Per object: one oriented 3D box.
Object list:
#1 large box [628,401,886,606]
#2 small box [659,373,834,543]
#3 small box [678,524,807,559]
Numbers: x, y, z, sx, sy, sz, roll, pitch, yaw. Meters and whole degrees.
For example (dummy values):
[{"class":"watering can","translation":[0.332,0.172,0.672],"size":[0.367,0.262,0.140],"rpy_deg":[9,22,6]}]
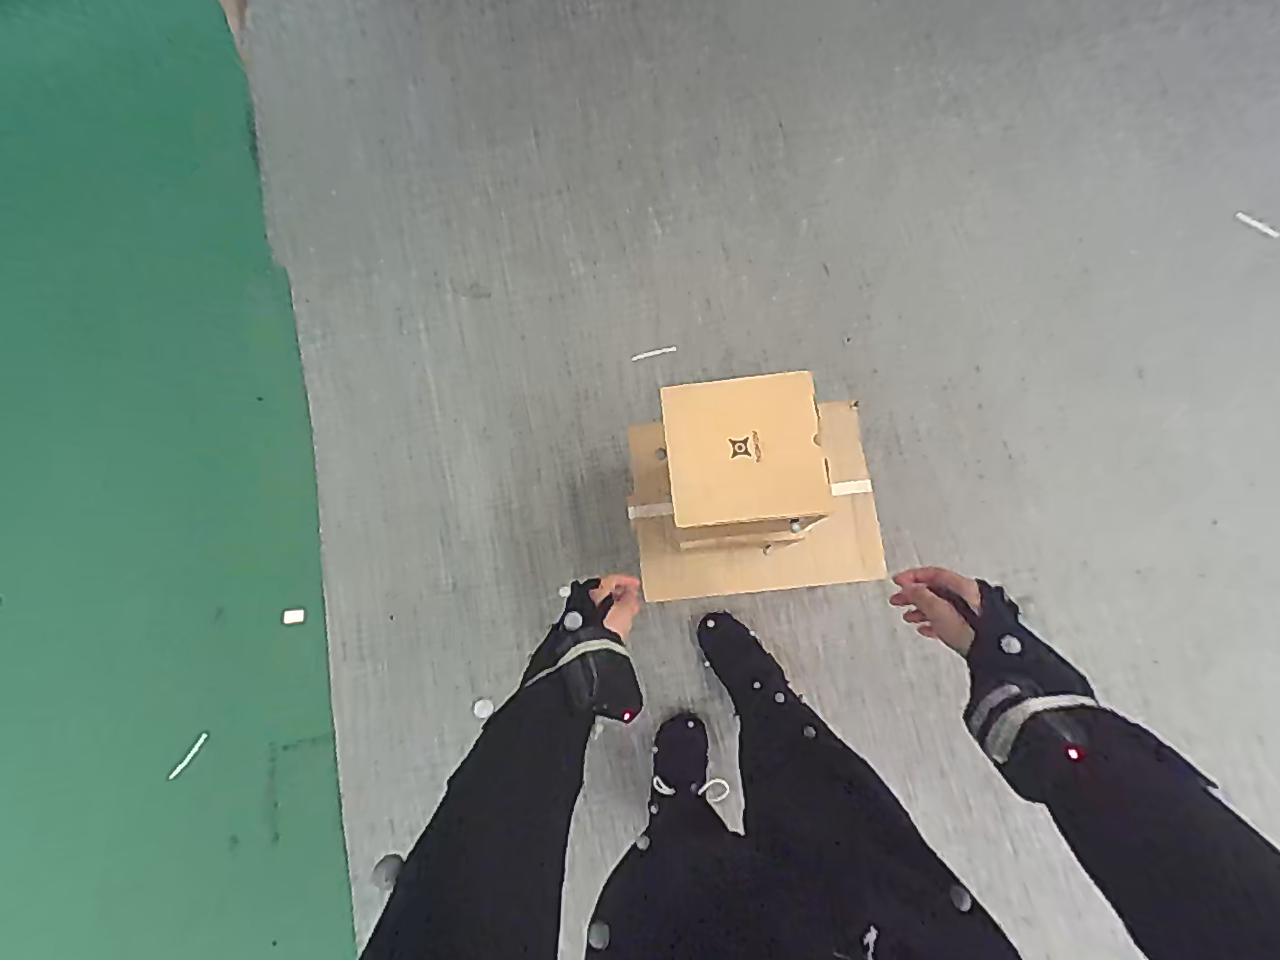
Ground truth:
[{"class":"large box","translation":[0.199,0.063,1.068],"size":[0.408,0.320,0.320],"rpy_deg":[-7,80,2]},{"class":"small box","translation":[0.122,-0.016,0.676],"size":[0.179,0.176,0.168],"rpy_deg":[-6,78,2]},{"class":"small box","translation":[0.141,0.029,0.832],"size":[0.179,0.176,0.168],"rpy_deg":[-6,78,4]}]
